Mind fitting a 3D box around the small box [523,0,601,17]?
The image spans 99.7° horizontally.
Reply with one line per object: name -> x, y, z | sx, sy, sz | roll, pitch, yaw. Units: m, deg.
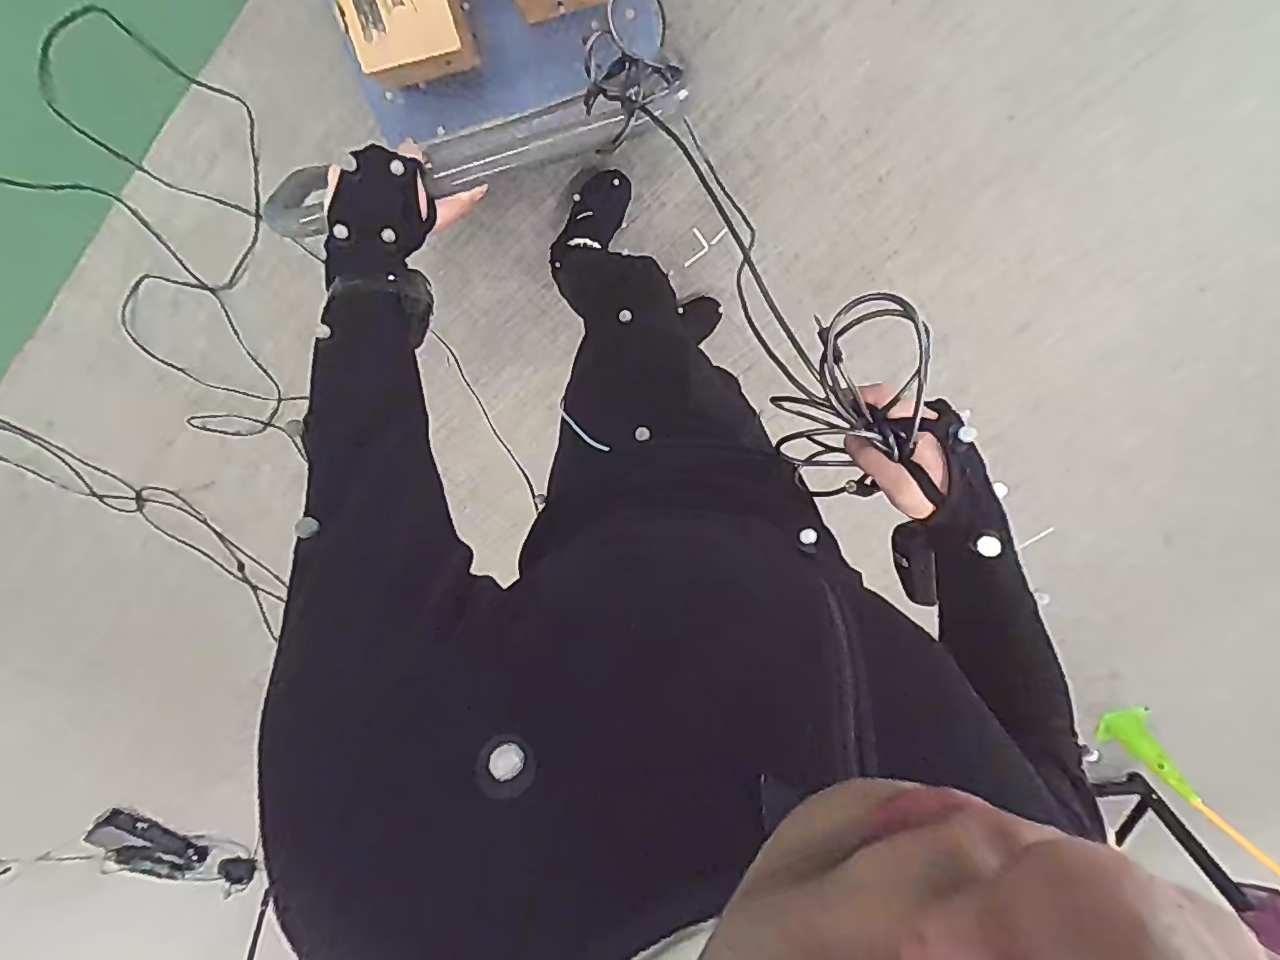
small box -> -0.141, -0.905, 0.886 | 0.168, 0.176, 0.179 | -12, 121, 5
